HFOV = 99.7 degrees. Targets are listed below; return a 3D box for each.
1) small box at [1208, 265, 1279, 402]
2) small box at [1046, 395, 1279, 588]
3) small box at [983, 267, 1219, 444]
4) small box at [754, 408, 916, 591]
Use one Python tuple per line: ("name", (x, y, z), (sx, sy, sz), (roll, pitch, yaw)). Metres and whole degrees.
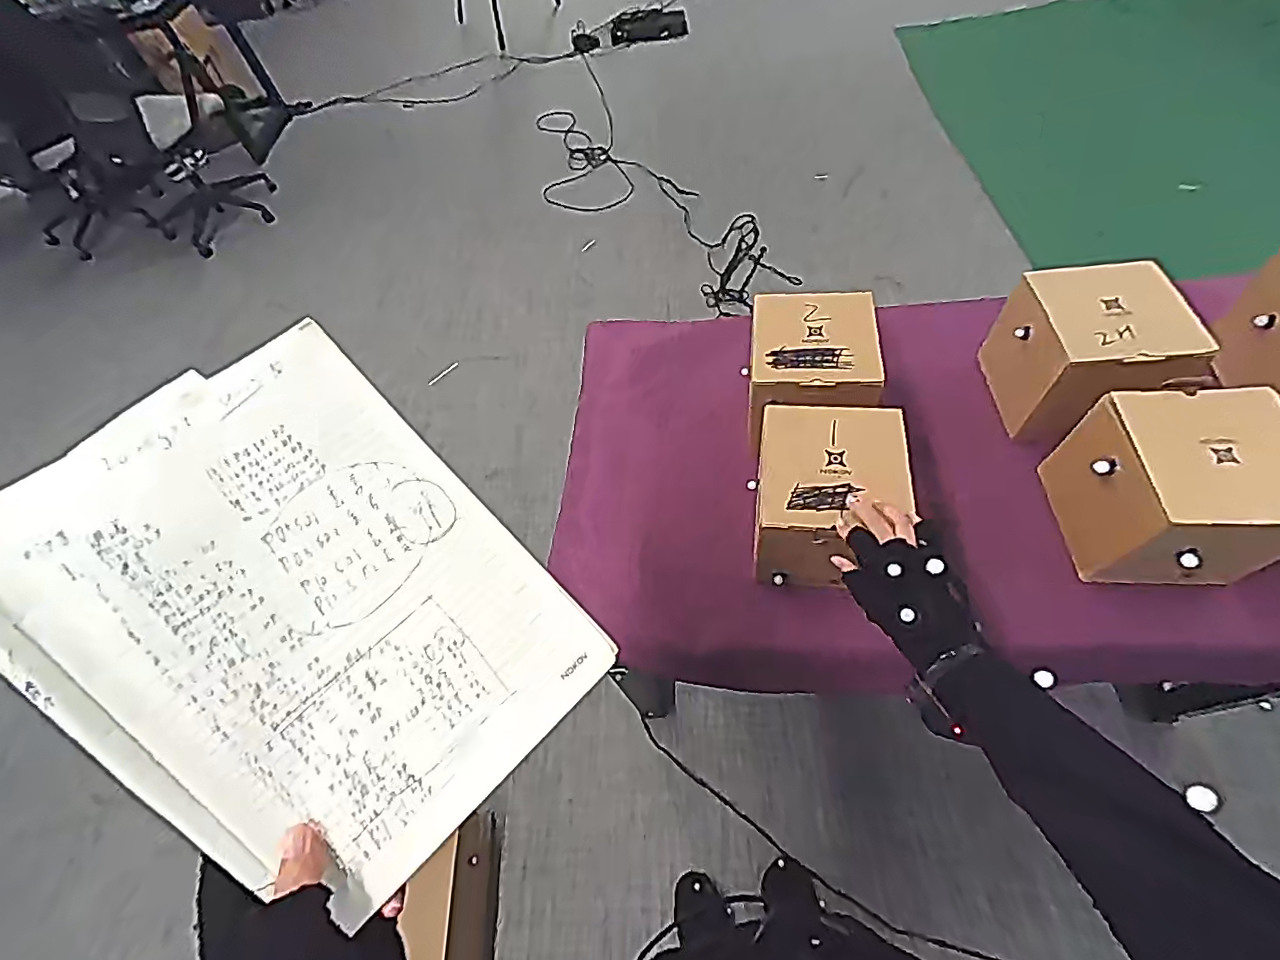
("small box", (0.929, -0.183, 0.723), (0.168, 0.176, 0.179), (2, 58, 10))
("small box", (0.631, 0.020, 0.642), (0.168, 0.176, 0.179), (0, 59, 9))
("small box", (0.618, -0.170, 0.760), (0.168, 0.176, 0.179), (-2, 58, 7))
("small box", (0.237, 0.029, 0.694), (0.168, 0.176, 0.179), (4, 58, 11))
